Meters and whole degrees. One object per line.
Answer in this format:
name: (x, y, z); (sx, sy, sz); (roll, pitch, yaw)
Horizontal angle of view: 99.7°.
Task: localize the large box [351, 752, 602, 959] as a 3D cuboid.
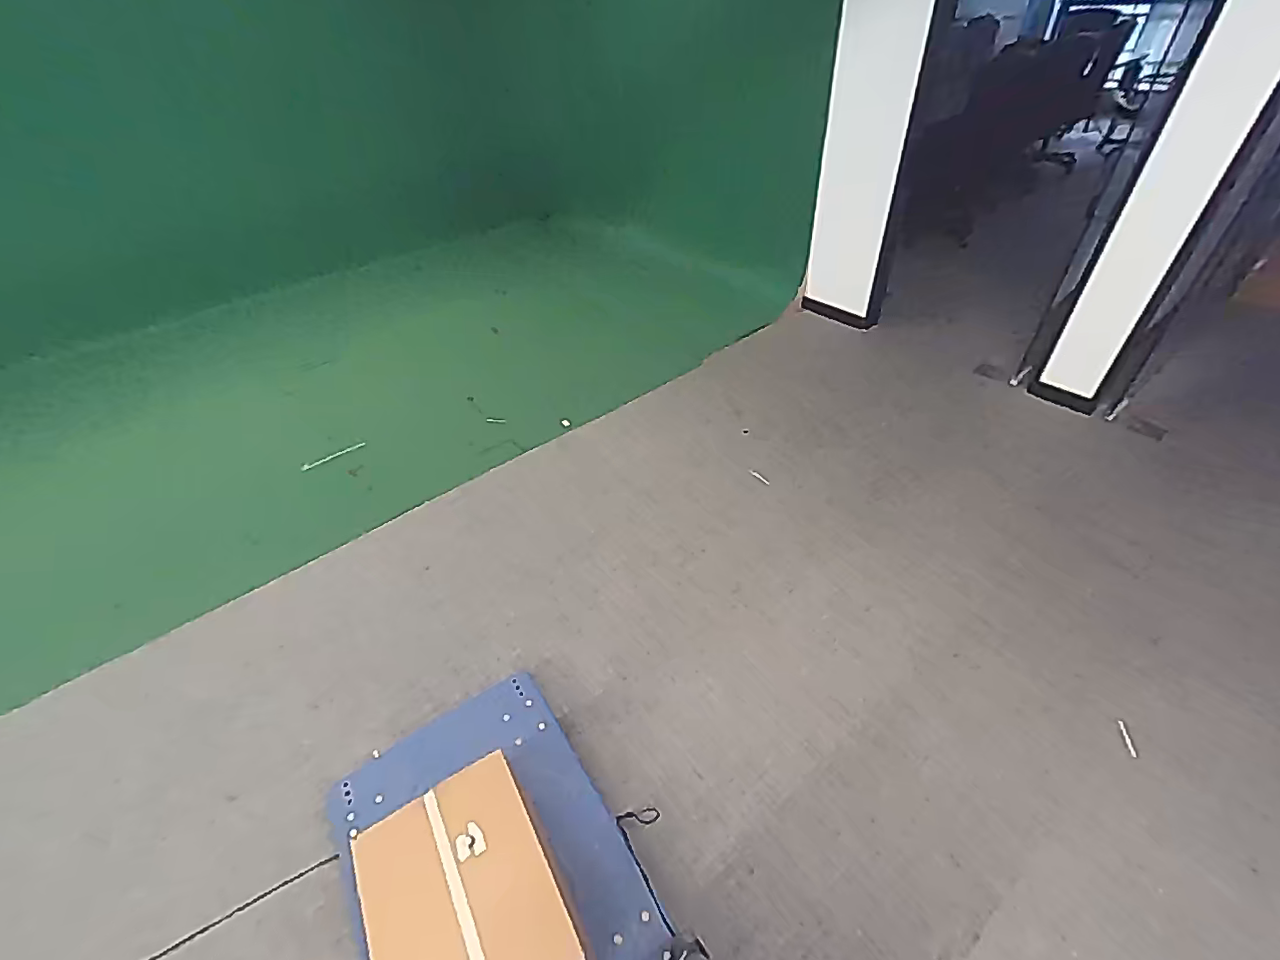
large box: (-0.305, 0.844, 1.054); (0.320, 0.320, 0.408); (-25, 45, -21)
